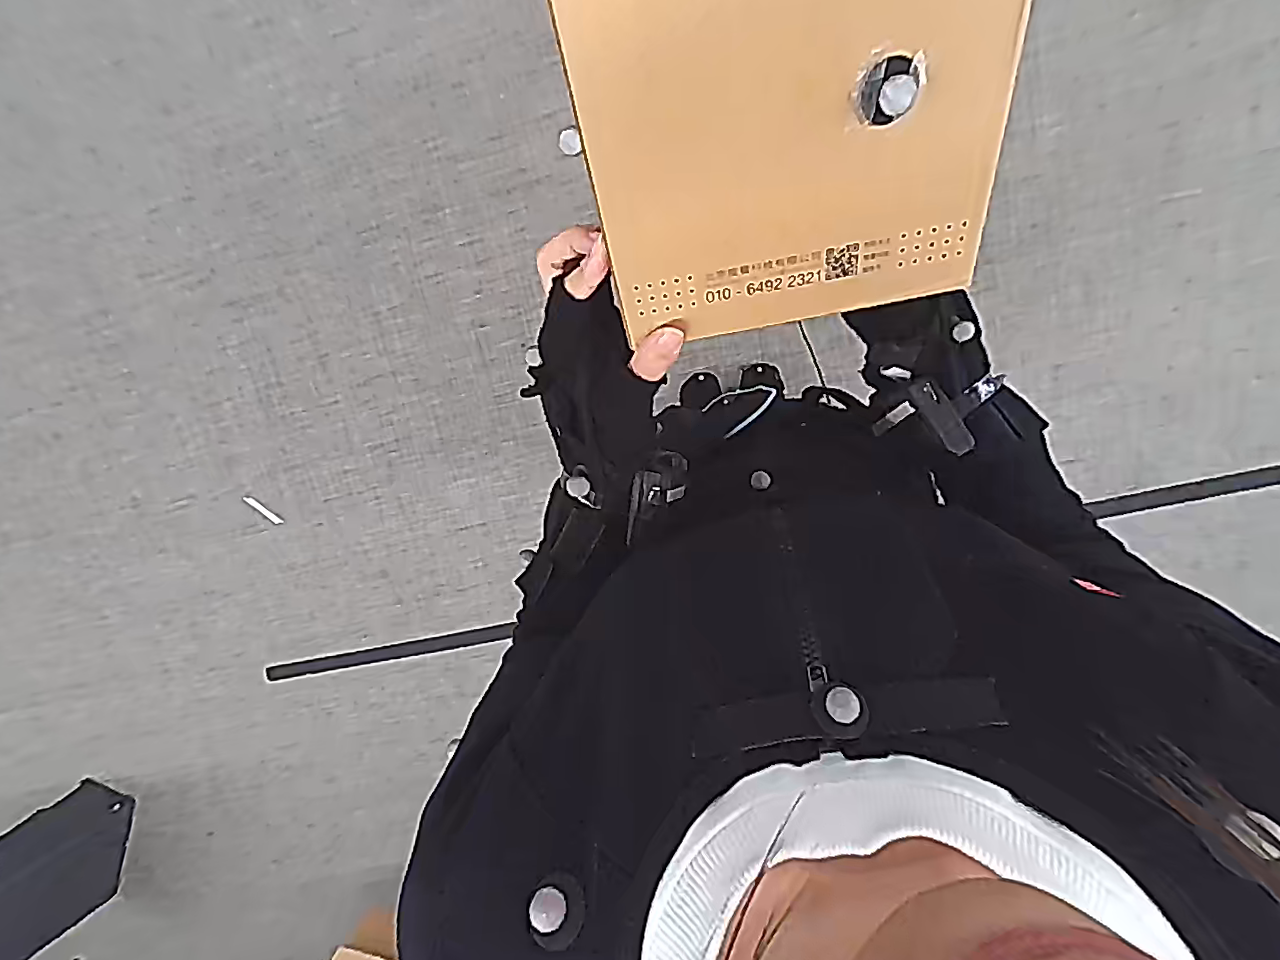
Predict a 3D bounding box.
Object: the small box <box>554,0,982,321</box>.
[{"bbox_3d":[0.061,-0.200,0.294,0.168,0.179,0.176,-8,132,7],"label":"small box"}]
